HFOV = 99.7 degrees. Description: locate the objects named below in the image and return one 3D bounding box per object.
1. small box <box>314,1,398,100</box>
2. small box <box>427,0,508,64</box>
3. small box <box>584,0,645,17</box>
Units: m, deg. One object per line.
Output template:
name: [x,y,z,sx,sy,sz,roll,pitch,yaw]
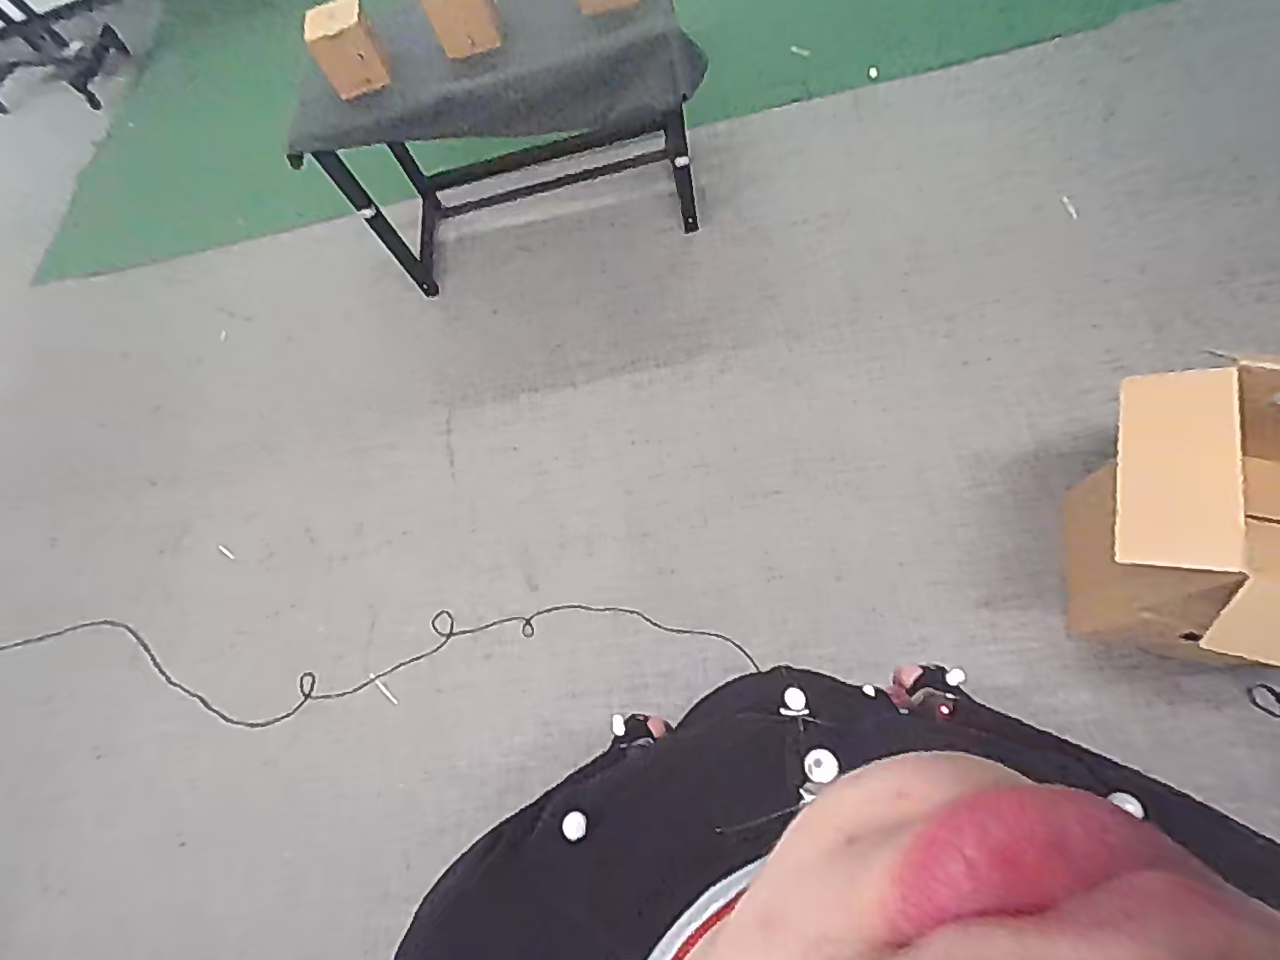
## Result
small box: [-0.861,-1.301,1.652,0.168,0.176,0.179,-17,63,3]
small box: [-0.505,-1.394,1.612,0.179,0.176,0.168,-7,66,9]
small box: [-0.086,-1.482,1.554,0.179,0.176,0.168,-4,67,11]
